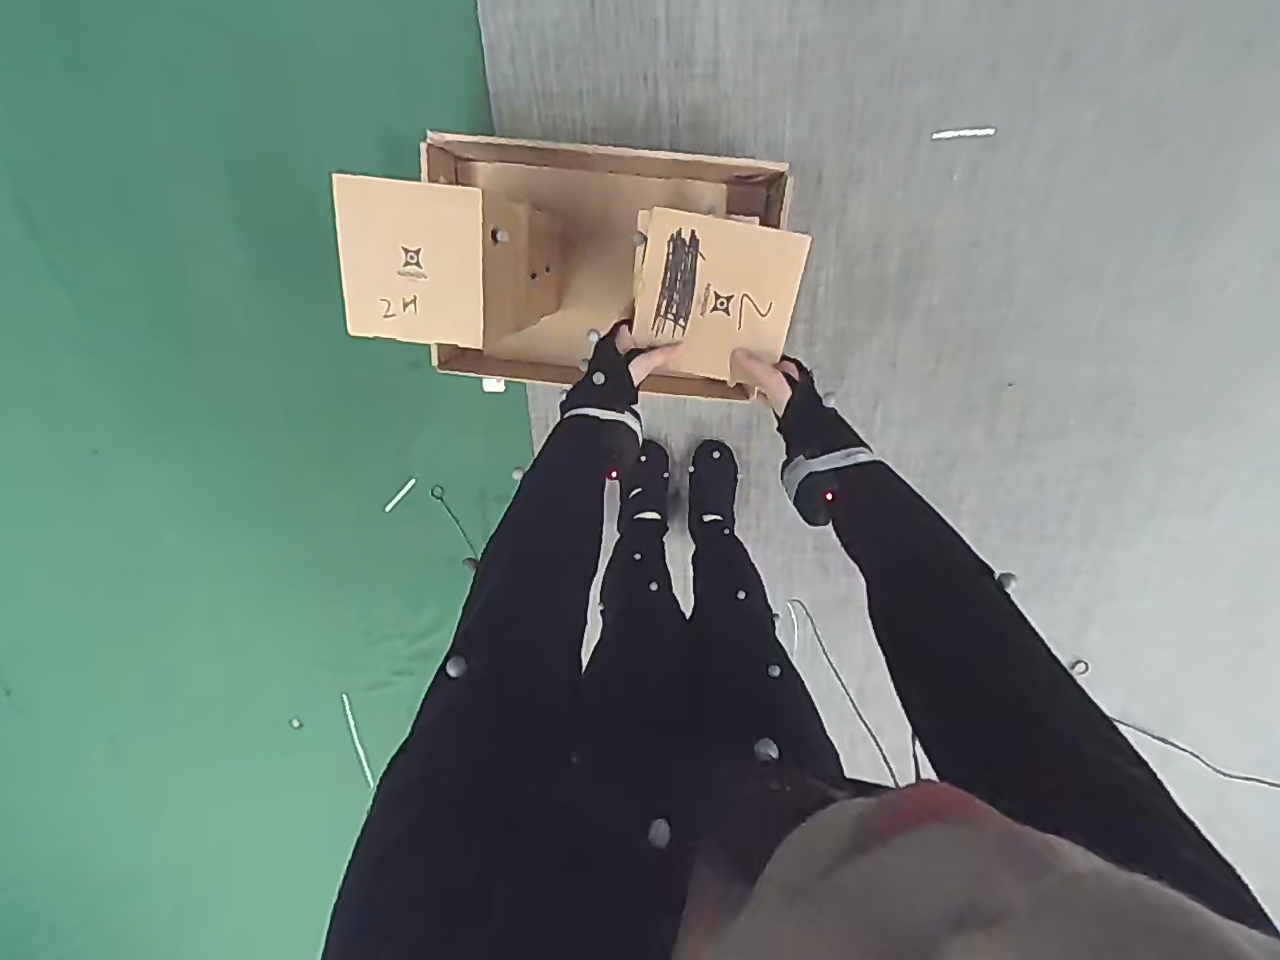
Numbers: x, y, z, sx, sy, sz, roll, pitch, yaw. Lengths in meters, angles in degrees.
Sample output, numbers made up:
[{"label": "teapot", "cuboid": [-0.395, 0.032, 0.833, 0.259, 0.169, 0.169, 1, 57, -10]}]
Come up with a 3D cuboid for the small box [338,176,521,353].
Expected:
[{"label": "small box", "cuboid": [-0.254, -0.270, 0.692, 0.168, 0.176, 0.179, 6, 112, 0]}]

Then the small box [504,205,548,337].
[{"label": "small box", "cuboid": [-0.243, -0.333, 0.844, 0.168, 0.176, 0.179, 8, 113, -1]}]

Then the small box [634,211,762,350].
[{"label": "small box", "cuboid": [0.081, -0.306, 0.835, 0.168, 0.176, 0.179, 5, 112, 2]}]
